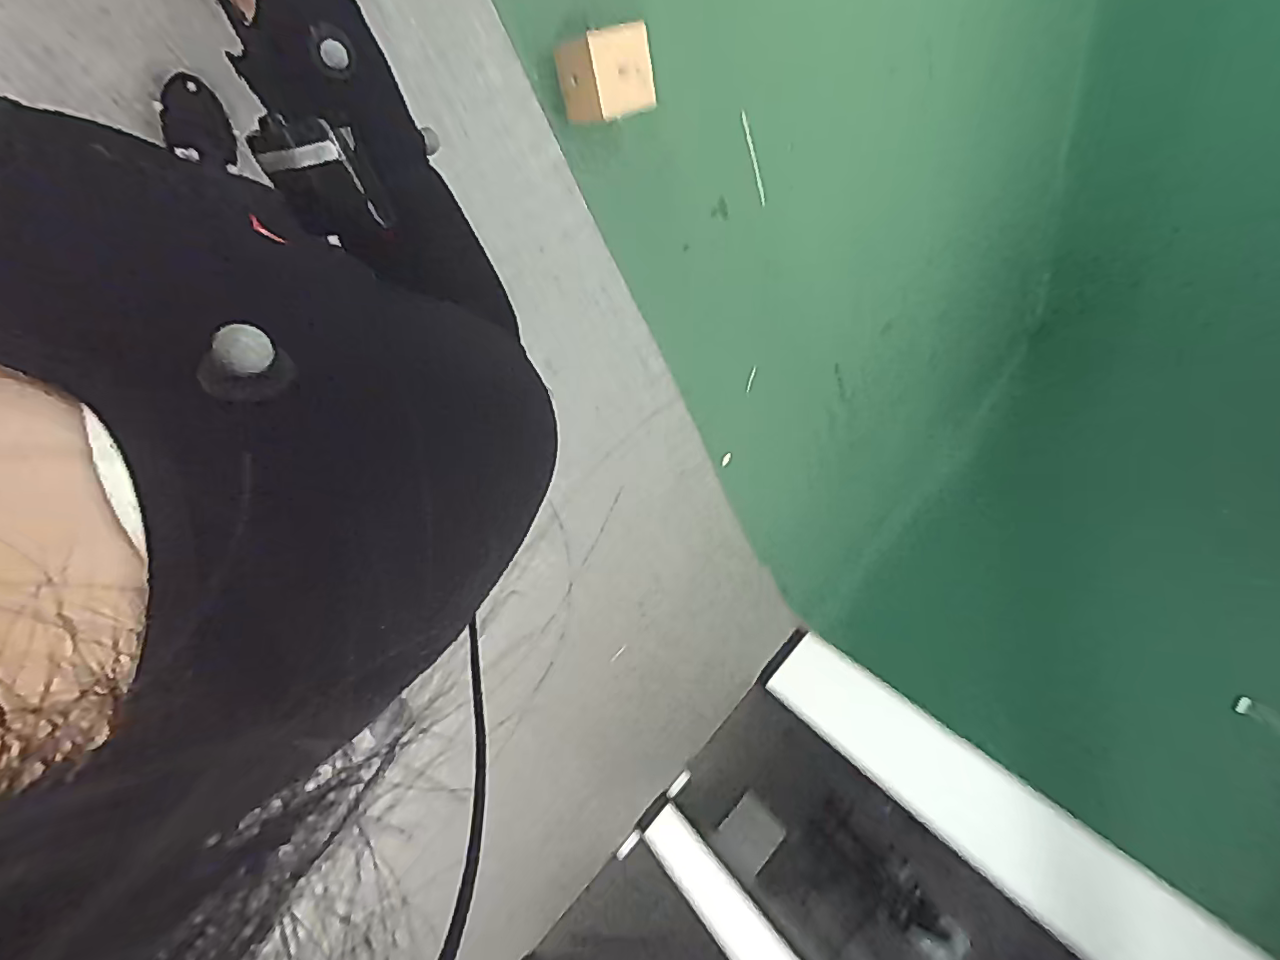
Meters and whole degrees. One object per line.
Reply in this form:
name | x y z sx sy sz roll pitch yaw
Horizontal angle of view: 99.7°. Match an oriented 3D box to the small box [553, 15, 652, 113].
small box | -0.098 -1.033 1.352 0.179 0.176 0.168 -33 134 -23
